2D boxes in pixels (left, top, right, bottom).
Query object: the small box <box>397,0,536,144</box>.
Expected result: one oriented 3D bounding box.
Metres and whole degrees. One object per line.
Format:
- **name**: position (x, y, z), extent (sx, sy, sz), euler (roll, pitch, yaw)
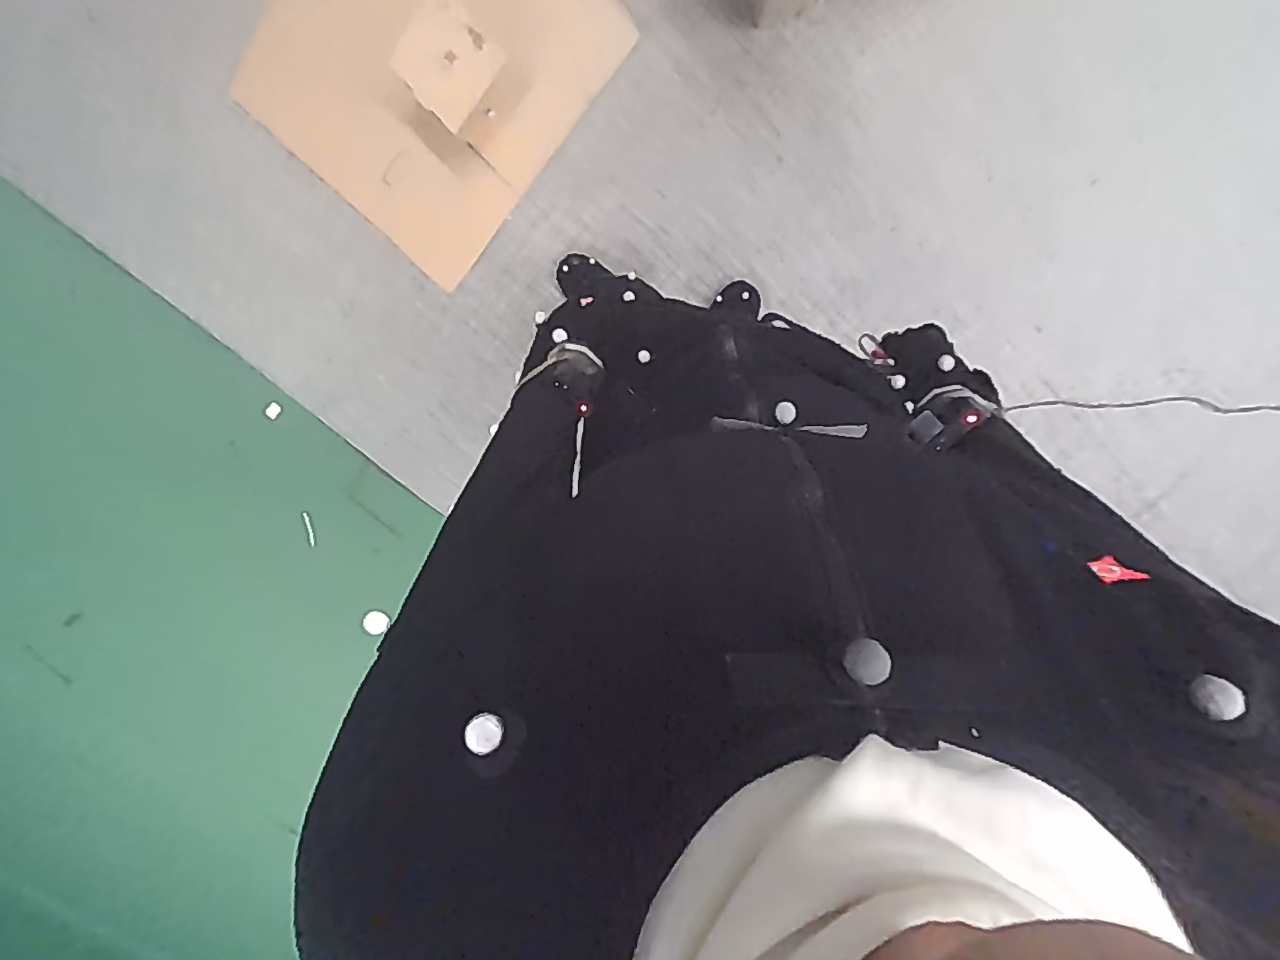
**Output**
- **small box**: position (-0.335, -0.812, 1.078), extent (0.168, 0.176, 0.179), euler (43, 113, -10)
